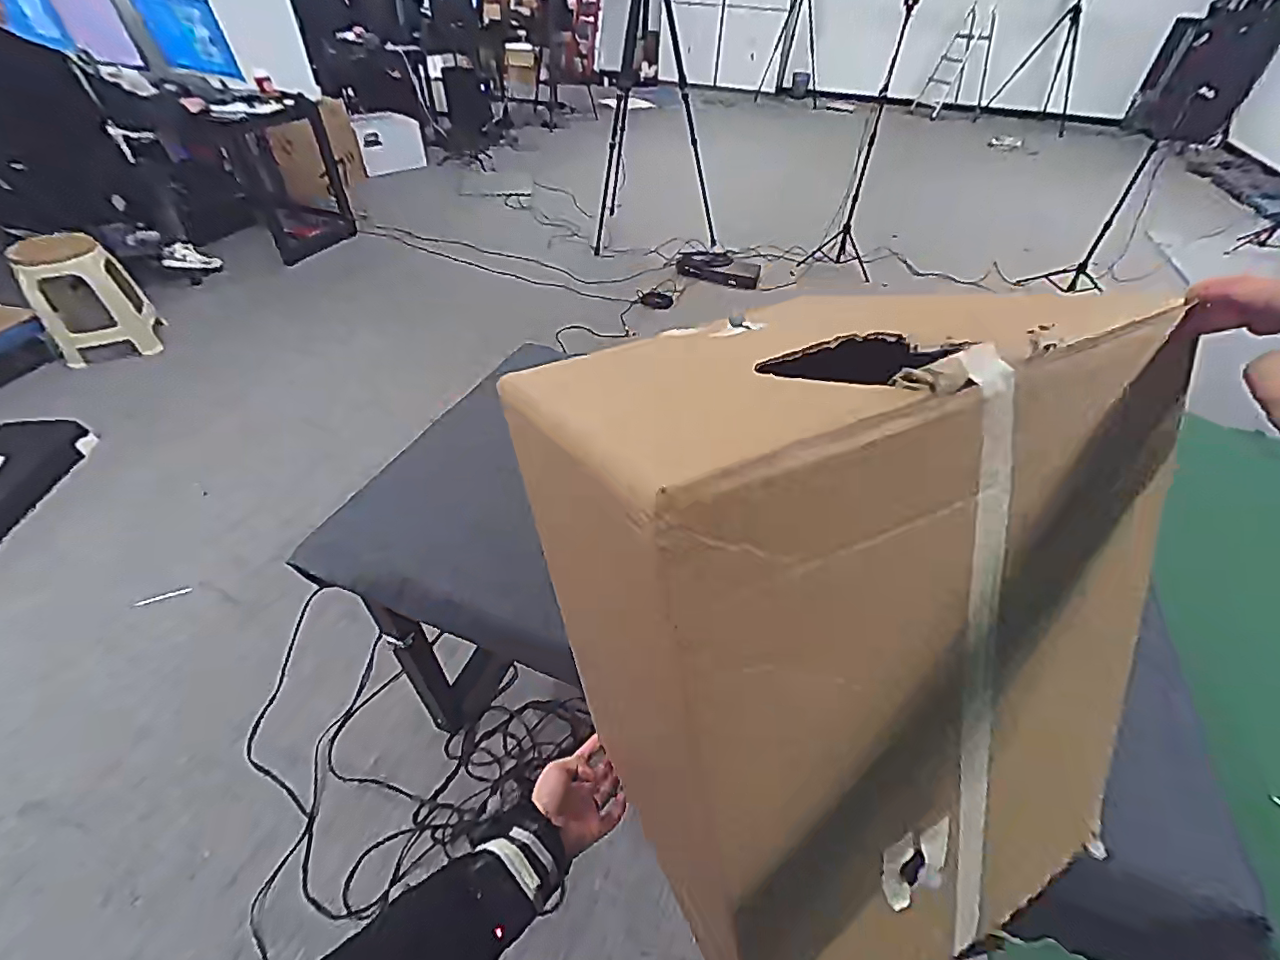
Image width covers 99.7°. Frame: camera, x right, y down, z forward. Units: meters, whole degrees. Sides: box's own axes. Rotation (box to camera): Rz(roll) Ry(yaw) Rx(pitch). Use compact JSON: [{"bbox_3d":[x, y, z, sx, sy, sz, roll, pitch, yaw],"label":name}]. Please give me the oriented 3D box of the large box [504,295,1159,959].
[{"bbox_3d":[0.120,0.087,0.448,0.320,0.408,0.320,-20,26,-18],"label":"large box"}]
